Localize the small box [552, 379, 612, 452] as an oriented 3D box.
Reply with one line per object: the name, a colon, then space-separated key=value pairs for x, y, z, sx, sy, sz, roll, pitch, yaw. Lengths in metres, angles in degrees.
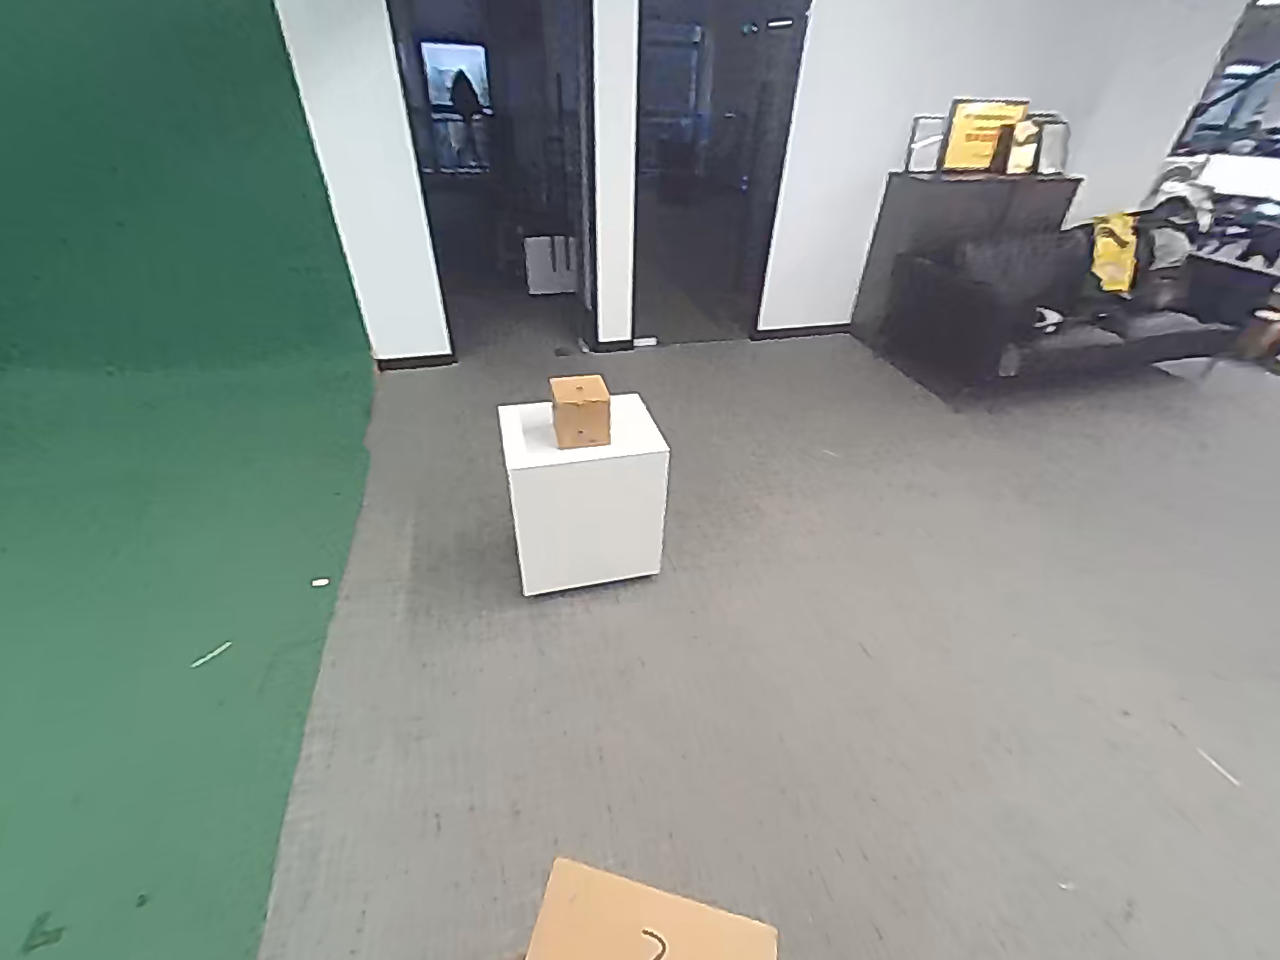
small box: x=-0.187 y=-0.207 z=1.727 sx=0.168 sy=0.176 sz=0.179 roll=-7 pitch=36 yaw=-13
